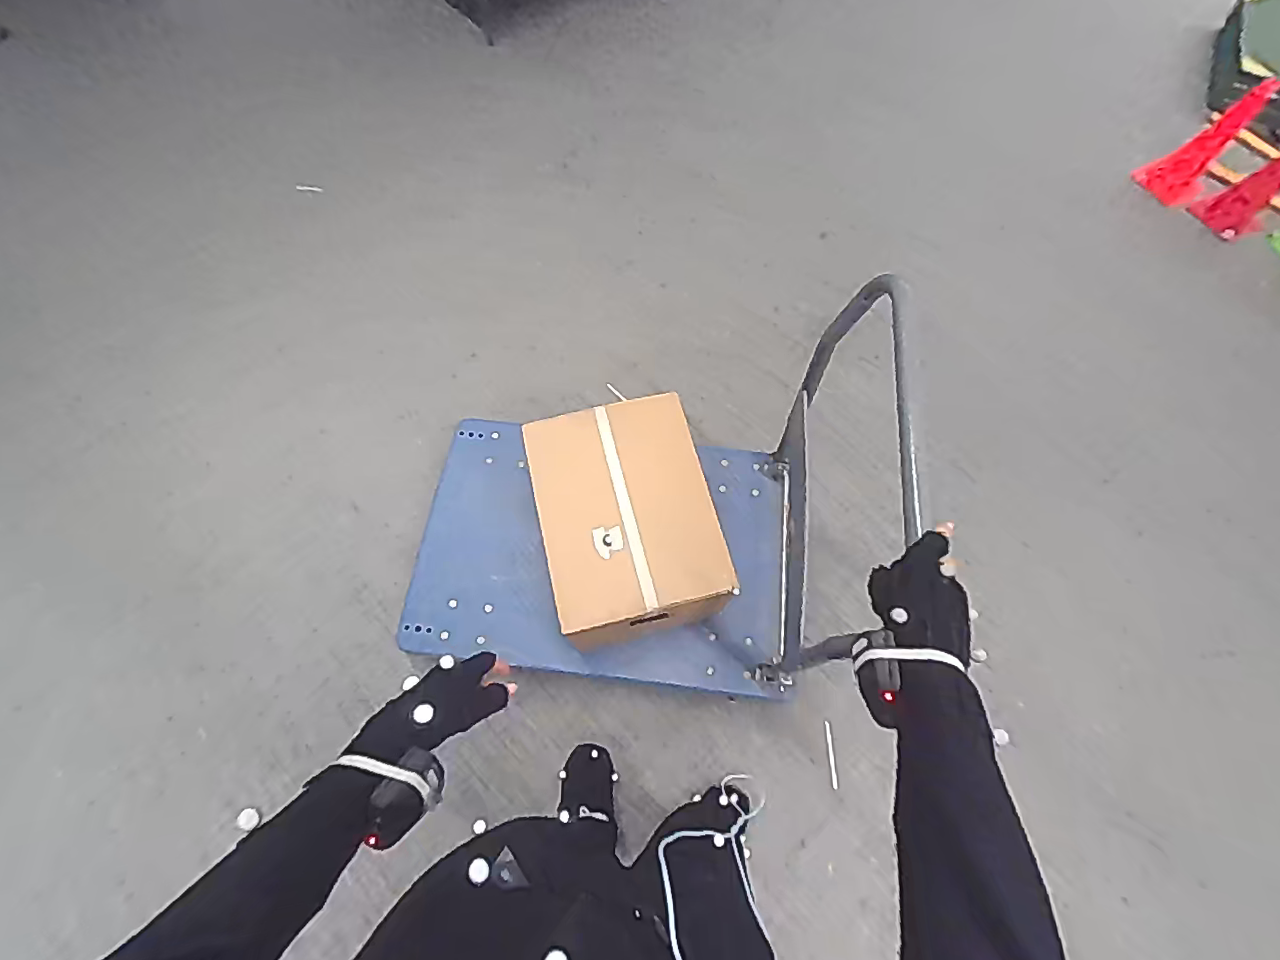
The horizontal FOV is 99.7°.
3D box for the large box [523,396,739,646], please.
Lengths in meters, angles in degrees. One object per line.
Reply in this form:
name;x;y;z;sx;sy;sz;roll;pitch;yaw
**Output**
large box;-0.032;0.097;1.131;0.320;0.320;0.408;-14;69;-6
